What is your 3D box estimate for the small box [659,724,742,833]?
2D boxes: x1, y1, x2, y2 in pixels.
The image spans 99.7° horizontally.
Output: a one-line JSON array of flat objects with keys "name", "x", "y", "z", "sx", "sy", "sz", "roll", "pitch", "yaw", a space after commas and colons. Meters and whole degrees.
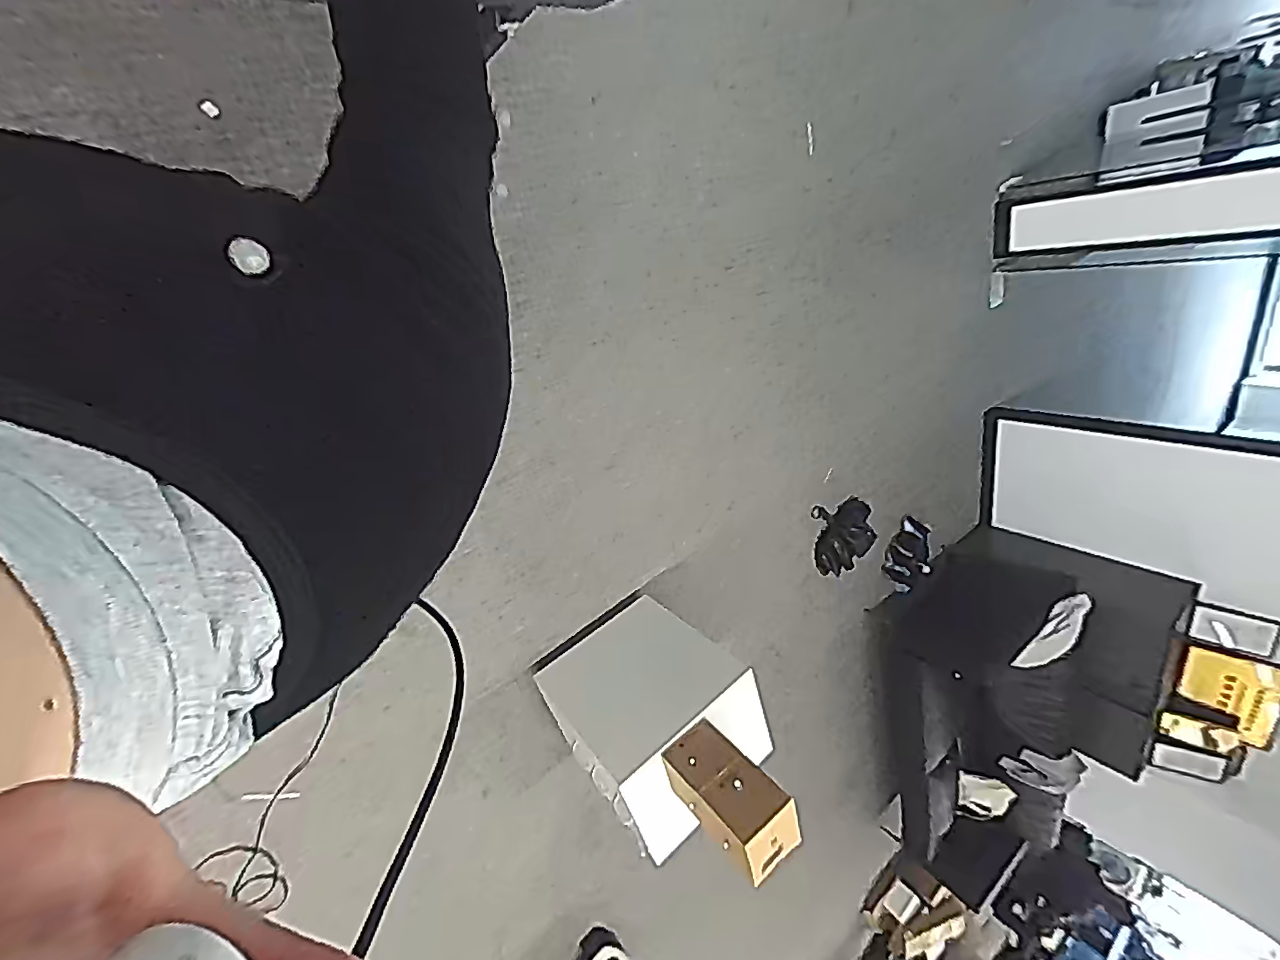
[{"name": "small box", "x": 0.174, "y": 0.807, "z": 1.488, "sx": 0.168, "sy": 0.176, "sz": 0.179, "roll": -29, "pitch": 121, "yaw": -25}]

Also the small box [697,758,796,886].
[{"name": "small box", "x": 0.267, "y": 0.850, "z": 1.360, "sx": 0.168, "sy": 0.176, "sz": 0.179, "roll": -29, "pitch": 118, "yaw": -26}]
